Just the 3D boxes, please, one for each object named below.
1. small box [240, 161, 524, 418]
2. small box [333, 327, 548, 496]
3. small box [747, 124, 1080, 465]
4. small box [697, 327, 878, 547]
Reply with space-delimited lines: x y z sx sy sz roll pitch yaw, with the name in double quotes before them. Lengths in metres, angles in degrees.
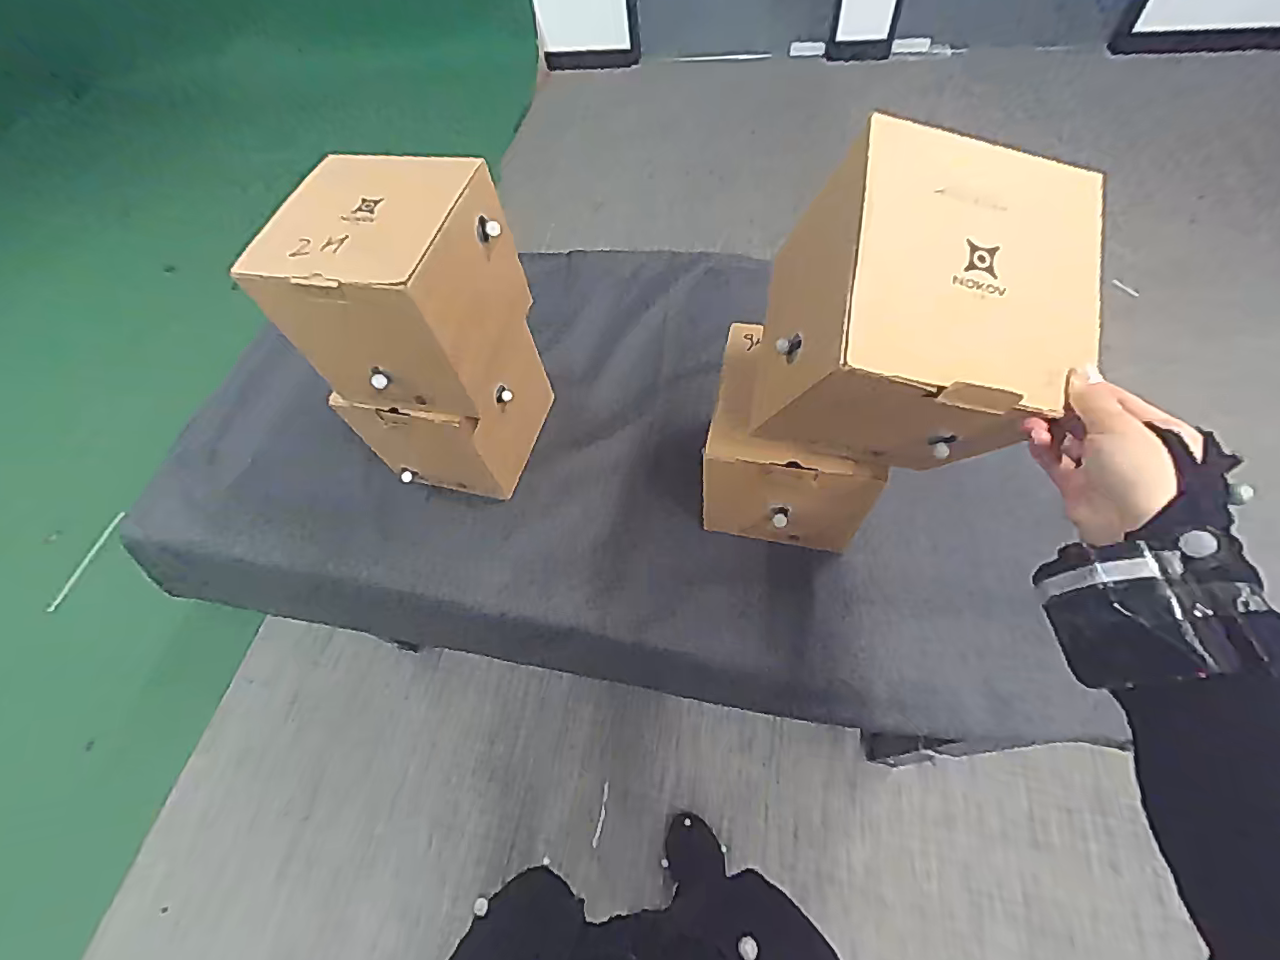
"small box" -0.232 -0.188 0.545 0.168 0.176 0.179 8 60 12
"small box" -0.232 -0.100 0.685 0.168 0.176 0.179 11 60 12
"small box" 0.191 -0.120 0.420 0.168 0.176 0.179 11 78 -6
"small box" 0.162 -0.042 0.603 0.168 0.176 0.179 9 62 12
